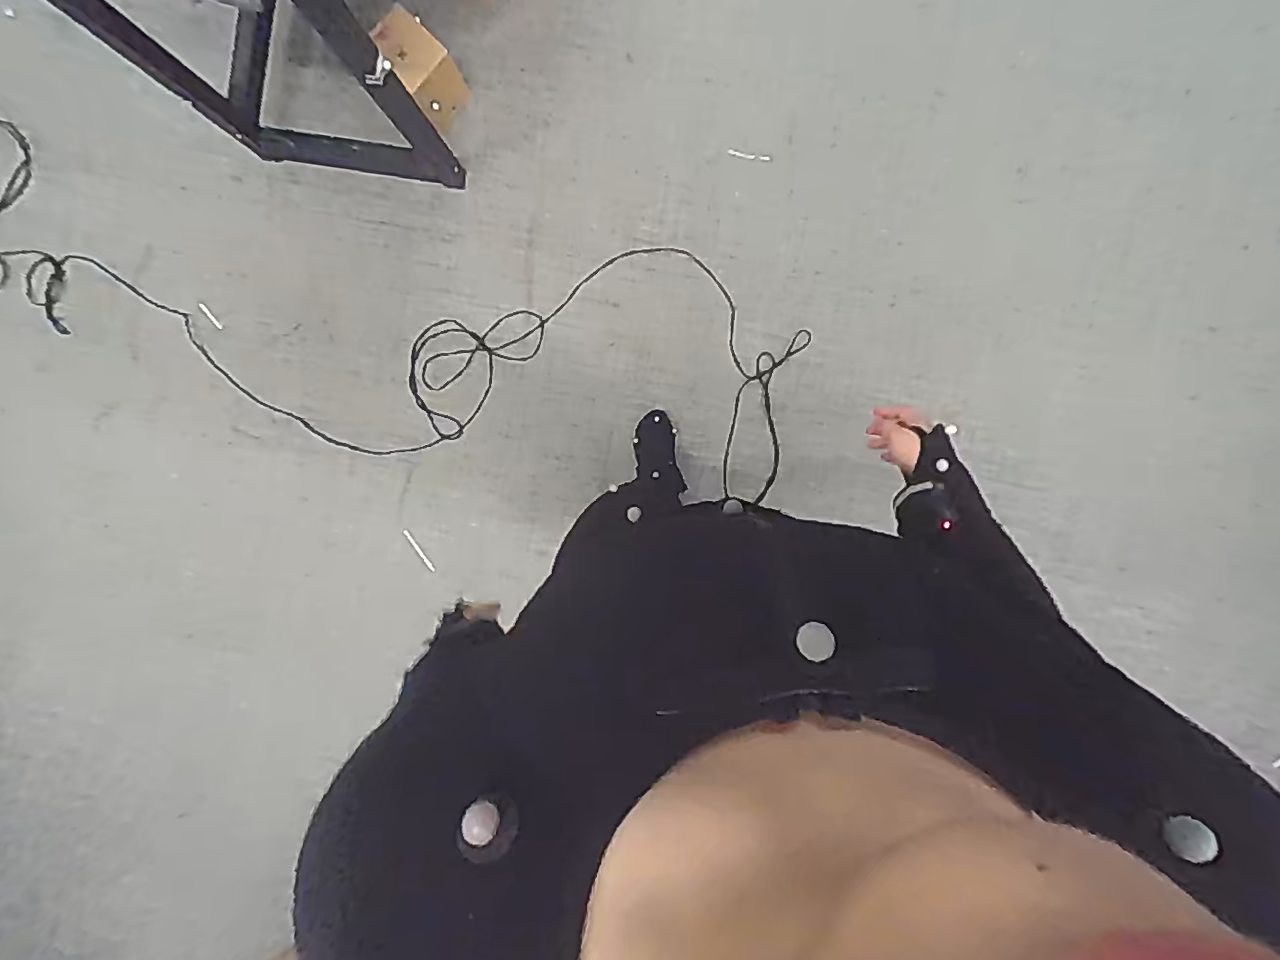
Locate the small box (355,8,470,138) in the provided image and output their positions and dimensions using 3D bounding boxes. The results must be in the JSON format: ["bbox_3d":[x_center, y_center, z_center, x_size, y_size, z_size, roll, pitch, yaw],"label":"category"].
[{"bbox_3d":[-0.569,-1.021,1.380,0.179,0.176,0.168,44,94,1],"label":"small box"}]
